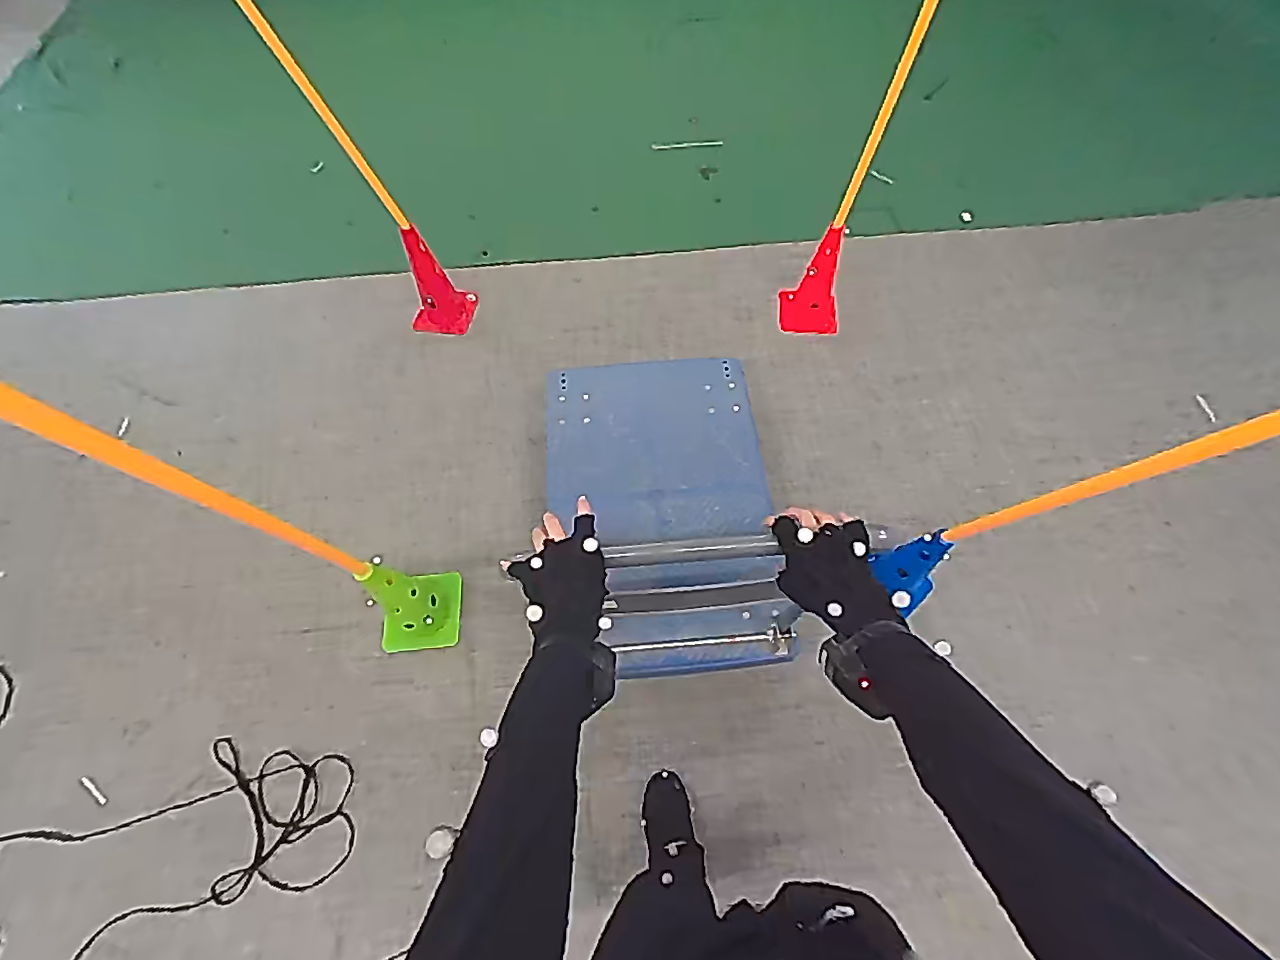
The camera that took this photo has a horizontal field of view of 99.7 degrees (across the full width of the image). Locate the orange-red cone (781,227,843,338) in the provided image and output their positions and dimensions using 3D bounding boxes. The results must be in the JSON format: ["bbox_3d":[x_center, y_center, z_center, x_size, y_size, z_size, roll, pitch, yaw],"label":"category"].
[{"bbox_3d":[0.596,-0.659,1.765,0.198,0.360,0.199,5,64,5],"label":"orange-red cone"}]
